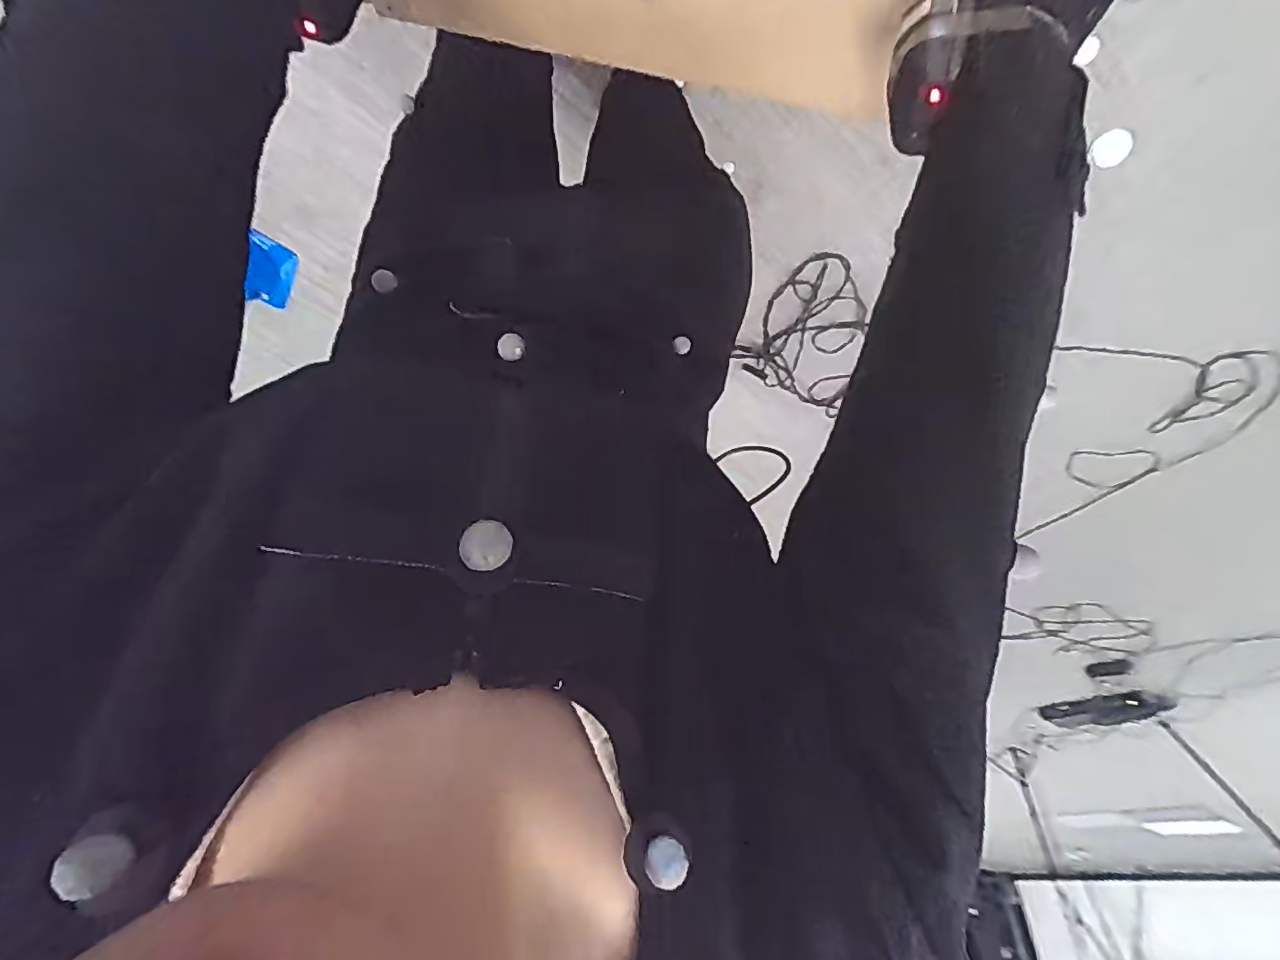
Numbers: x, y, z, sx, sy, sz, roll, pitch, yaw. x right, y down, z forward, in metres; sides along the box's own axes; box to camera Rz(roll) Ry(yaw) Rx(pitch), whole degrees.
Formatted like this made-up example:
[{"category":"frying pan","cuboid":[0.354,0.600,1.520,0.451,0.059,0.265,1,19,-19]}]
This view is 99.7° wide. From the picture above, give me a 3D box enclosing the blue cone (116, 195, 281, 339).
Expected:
[{"category":"blue cone","cuboid":[-0.982,-0.427,1.183,0.192,0.380,0.193,31,134,-26]}]
